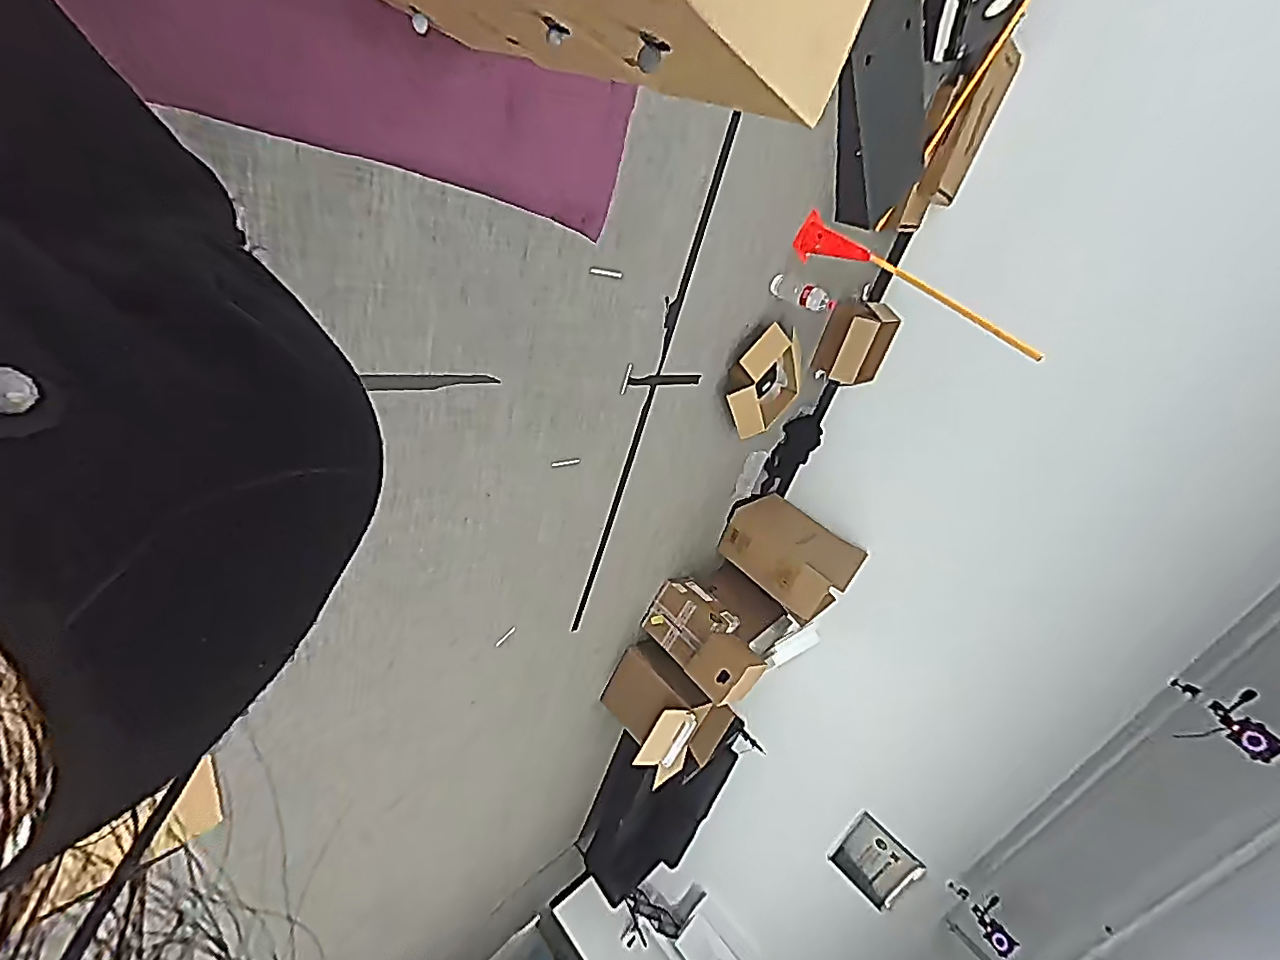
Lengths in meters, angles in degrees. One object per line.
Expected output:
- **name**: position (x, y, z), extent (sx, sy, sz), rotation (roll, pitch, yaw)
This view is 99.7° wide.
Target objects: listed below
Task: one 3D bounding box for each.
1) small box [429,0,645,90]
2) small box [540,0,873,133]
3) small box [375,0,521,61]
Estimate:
- **small box**: position (-0.062, -0.450, 0.428), extent (0.168, 0.176, 0.179), rotation (-7, 125, -49)
- **small box**: position (0.048, -0.361, 0.345), extent (0.168, 0.176, 0.179), rotation (-7, 126, -48)
- **small box**: position (-0.171, -0.538, 0.513), extent (0.168, 0.176, 0.179), rotation (-9, 128, -47)
